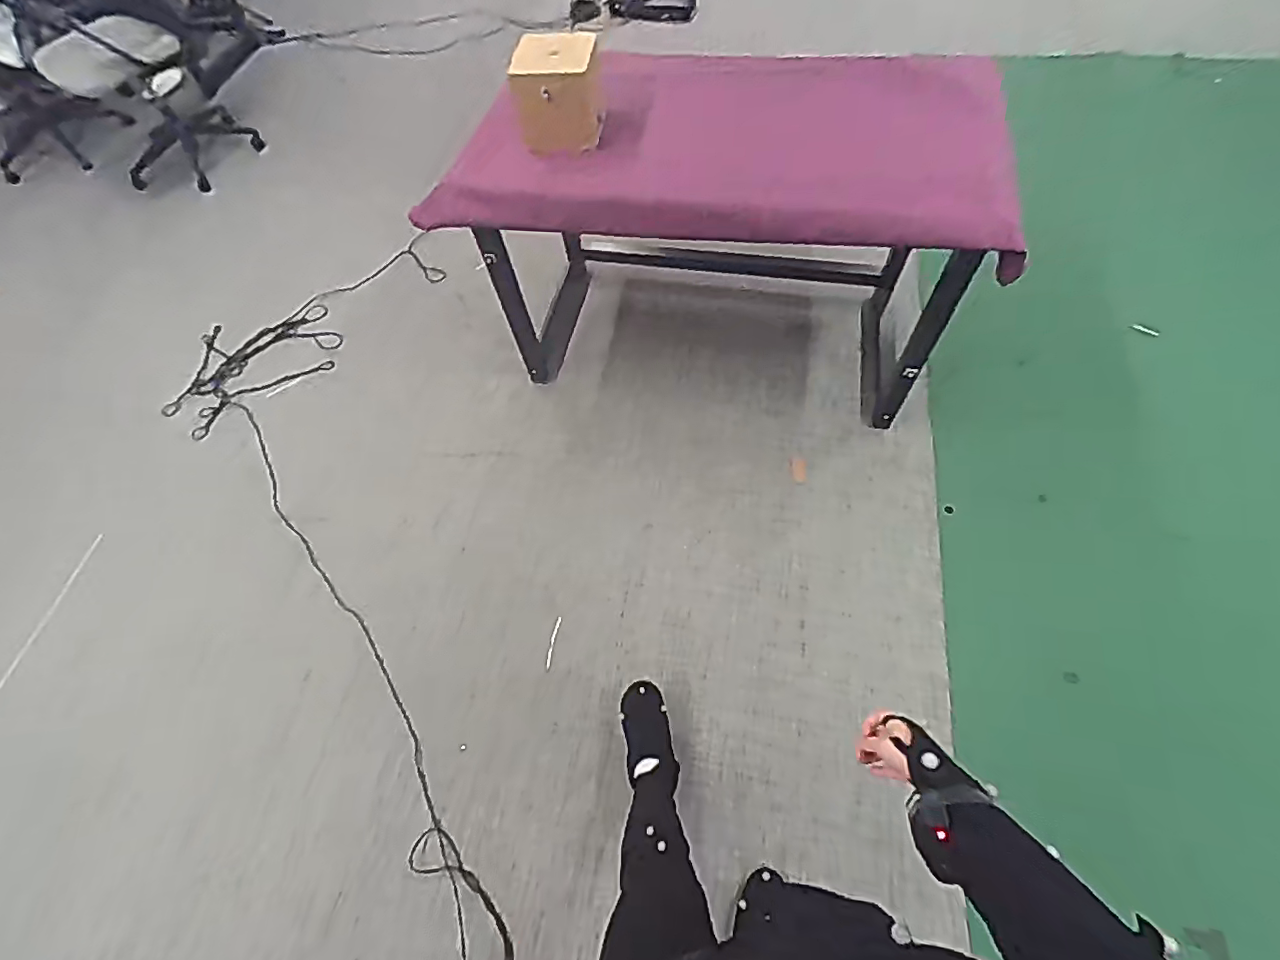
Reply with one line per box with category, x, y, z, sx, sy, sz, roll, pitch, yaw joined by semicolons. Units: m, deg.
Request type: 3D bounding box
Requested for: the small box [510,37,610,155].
small box;-0.174;-0.873;1.237;0.179;0.176;0.168;5;63;7
